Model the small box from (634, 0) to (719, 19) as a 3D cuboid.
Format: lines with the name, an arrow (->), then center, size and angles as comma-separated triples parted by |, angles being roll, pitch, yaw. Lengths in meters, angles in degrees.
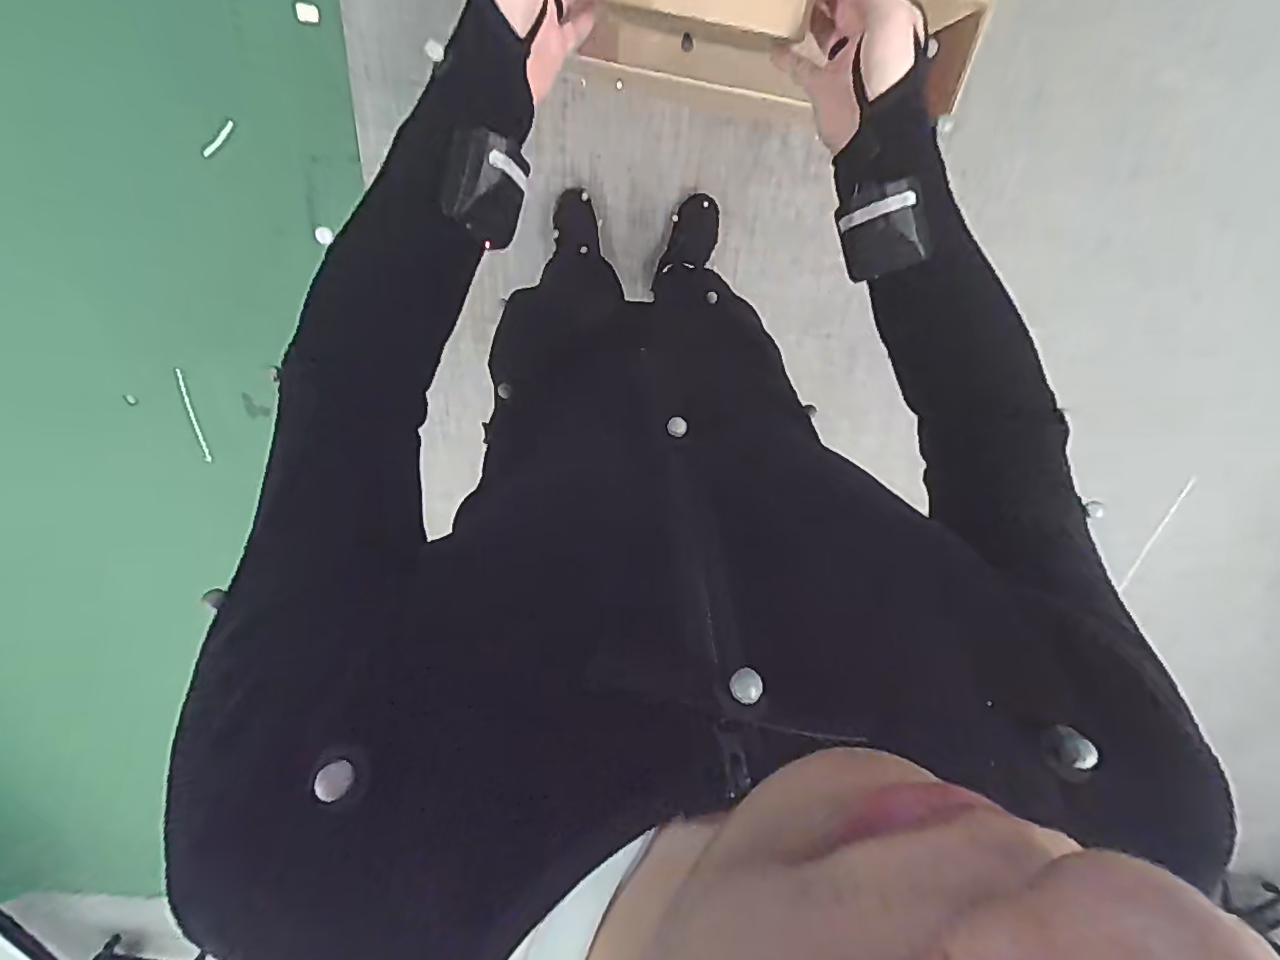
small box -> 0.052, -0.780, 0.741 | 0.168, 0.176, 0.179 | 12, 119, -3

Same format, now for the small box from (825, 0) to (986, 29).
small box -> 0.322, -0.652, 0.618 | 0.168, 0.176, 0.179 | 9, 119, -4

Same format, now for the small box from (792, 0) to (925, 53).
small box -> 0.326, -0.734, 0.762 | 0.168, 0.176, 0.179 | 9, 120, -3
